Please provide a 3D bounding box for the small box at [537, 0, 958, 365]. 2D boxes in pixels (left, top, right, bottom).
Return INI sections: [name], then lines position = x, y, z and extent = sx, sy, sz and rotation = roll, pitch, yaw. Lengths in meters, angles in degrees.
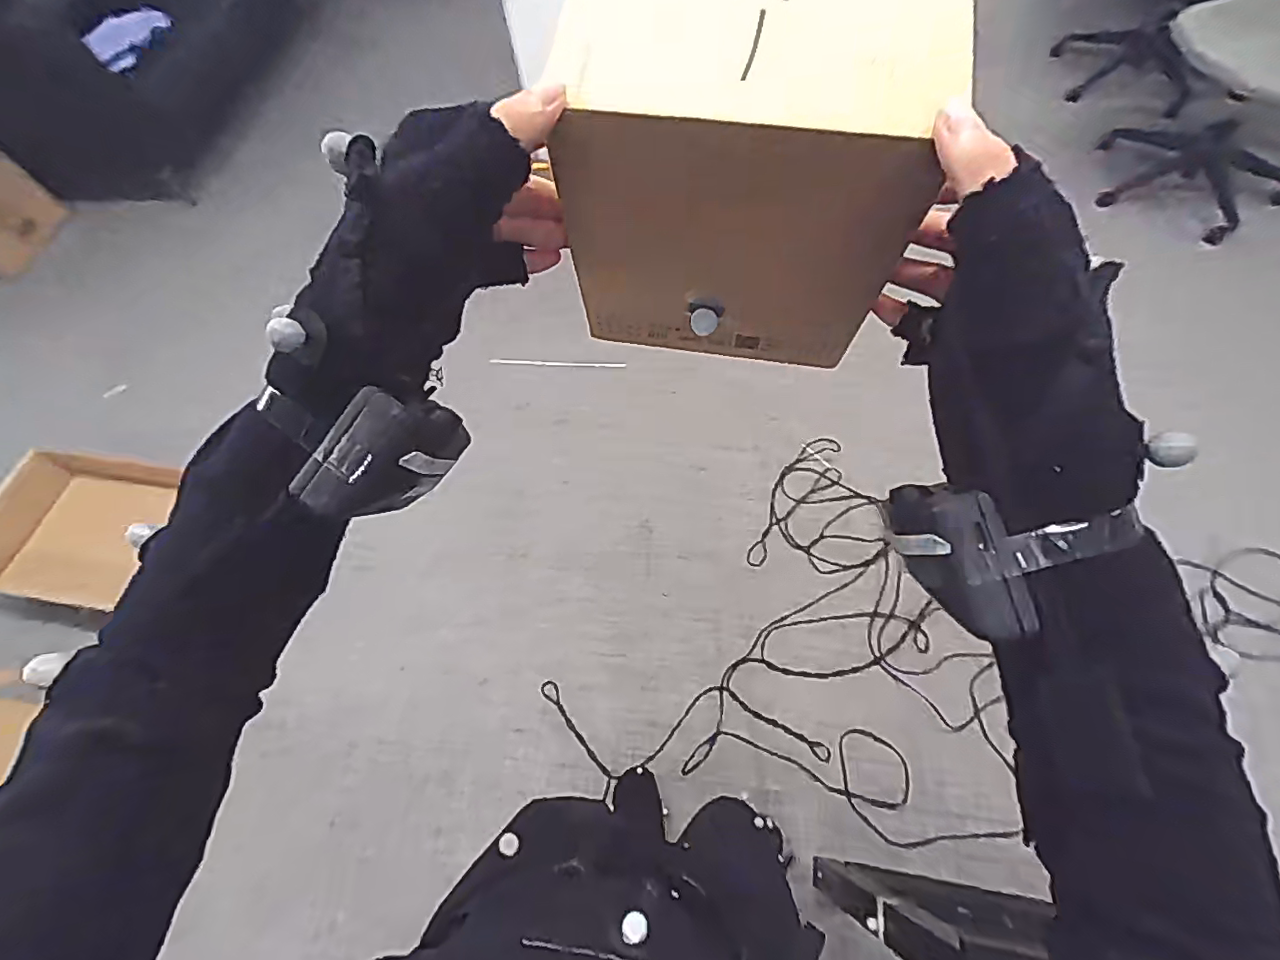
[small box]
position = 0.055, -0.191, 0.309
extent = 0.168, 0.176, 0.179
rotation = 8, 73, 6
